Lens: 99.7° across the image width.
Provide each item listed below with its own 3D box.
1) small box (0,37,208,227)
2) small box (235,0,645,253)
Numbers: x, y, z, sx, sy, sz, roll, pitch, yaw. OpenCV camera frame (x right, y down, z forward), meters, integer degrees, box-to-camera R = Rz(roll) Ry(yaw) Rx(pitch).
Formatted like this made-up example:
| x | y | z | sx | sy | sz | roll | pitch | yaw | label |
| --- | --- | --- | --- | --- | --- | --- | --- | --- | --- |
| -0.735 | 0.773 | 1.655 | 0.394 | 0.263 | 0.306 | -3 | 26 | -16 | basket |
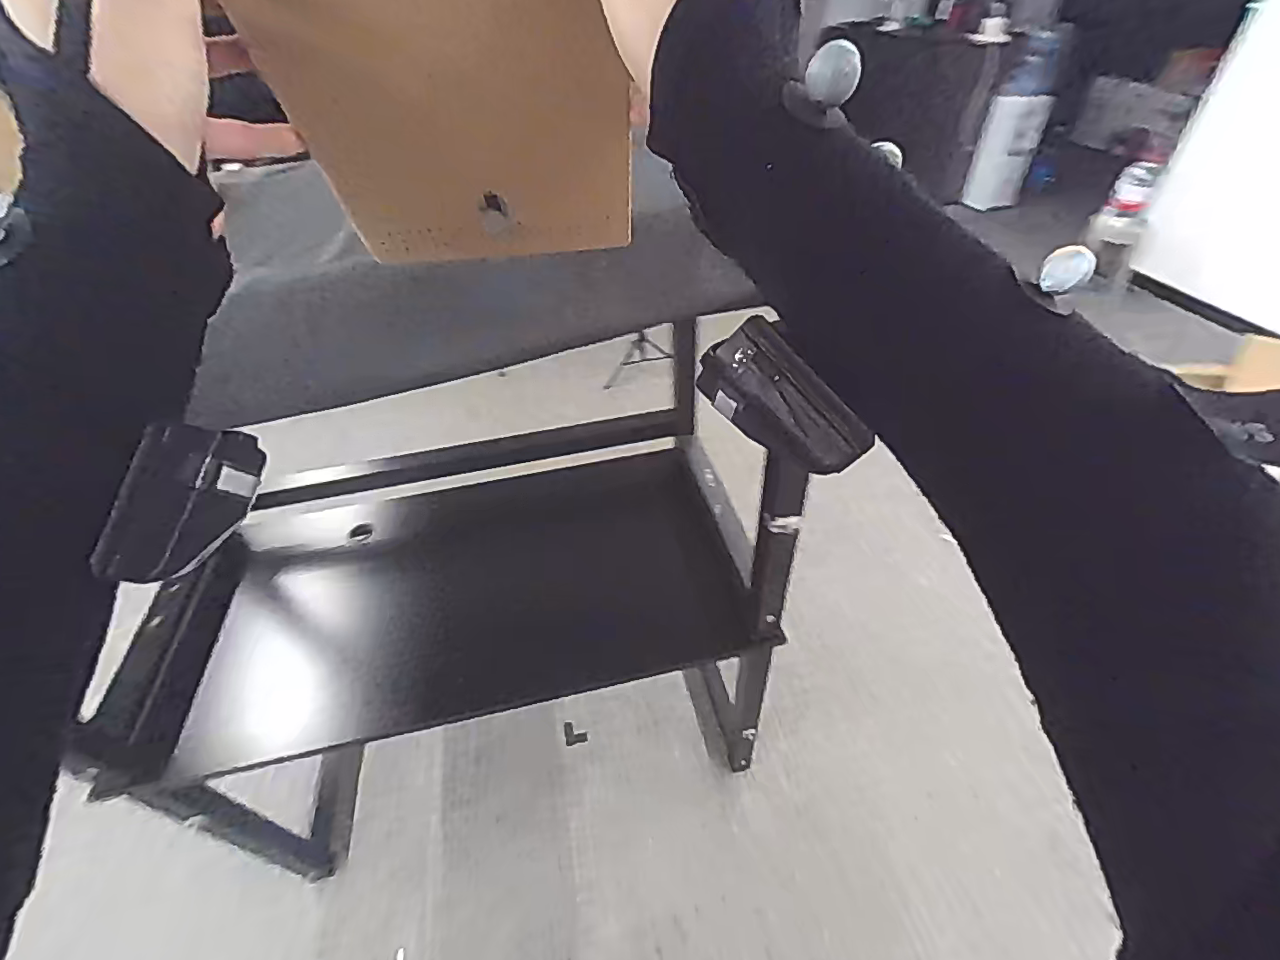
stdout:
| x | y | z | sx | sy | sz | roll | pitch | yaw | label |
| --- | --- | --- | --- | --- | --- | --- | --- | --- | --- |
| -0.687 | -0.427 | 0.670 | 0.168 | 0.176 | 0.179 | -14 | 44 | -10 | small box |
| -0.093 | -0.259 | 0.318 | 0.179 | 0.176 | 0.168 | -5 | 70 | -3 | small box |
